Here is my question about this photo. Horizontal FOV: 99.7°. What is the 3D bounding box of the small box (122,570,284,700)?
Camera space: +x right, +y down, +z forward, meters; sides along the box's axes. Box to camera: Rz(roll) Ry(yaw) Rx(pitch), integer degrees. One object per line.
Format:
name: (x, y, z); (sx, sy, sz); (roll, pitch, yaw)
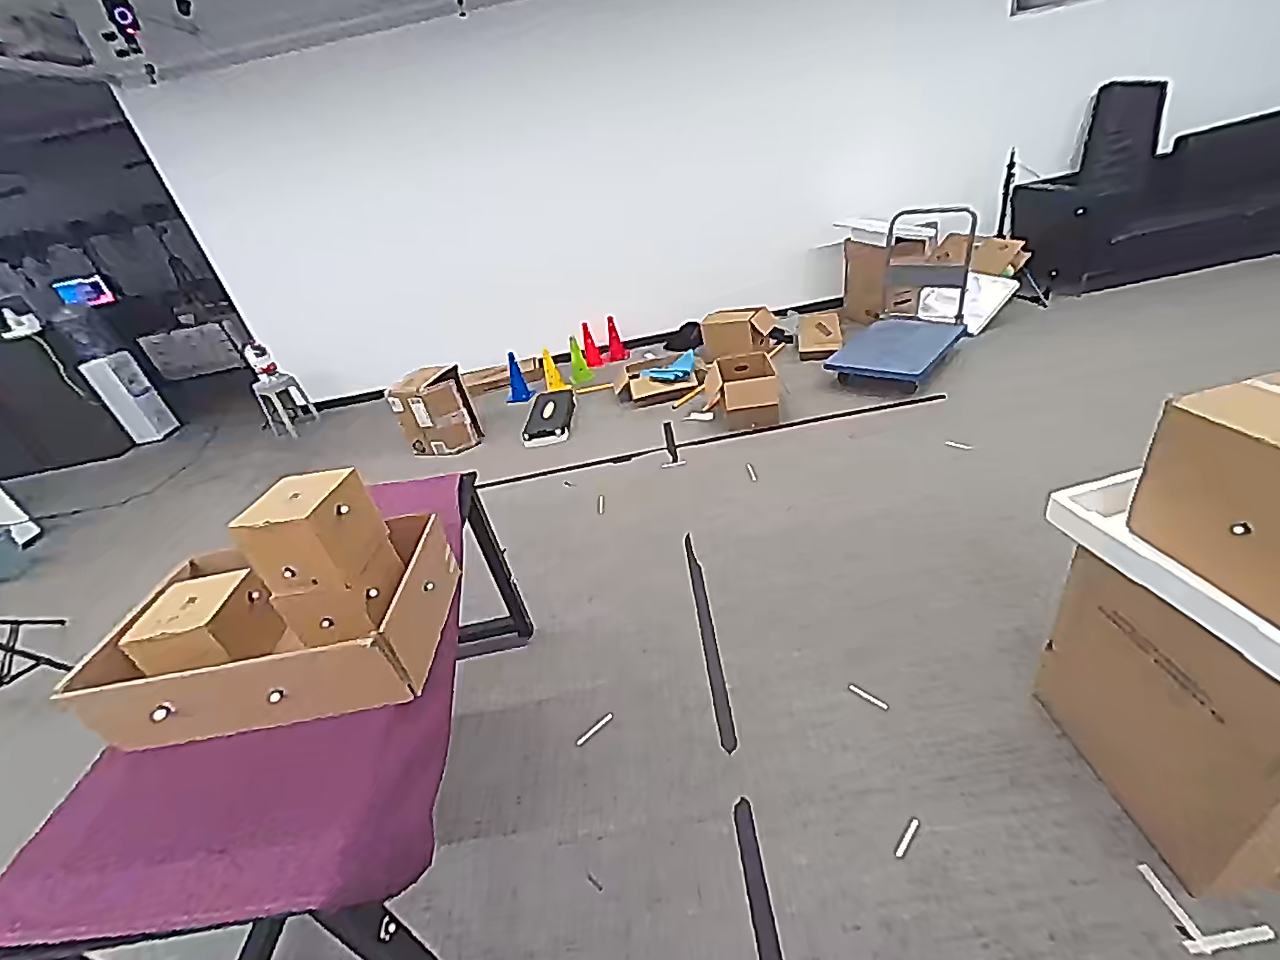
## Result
small box: (-0.876, 0.315, 1.110); (0.168, 0.176, 0.179); (-12, 31, -1)

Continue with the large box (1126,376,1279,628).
large box: (1.204, 0.046, 0.944); (0.320, 0.320, 0.408); (-13, 30, -2)
